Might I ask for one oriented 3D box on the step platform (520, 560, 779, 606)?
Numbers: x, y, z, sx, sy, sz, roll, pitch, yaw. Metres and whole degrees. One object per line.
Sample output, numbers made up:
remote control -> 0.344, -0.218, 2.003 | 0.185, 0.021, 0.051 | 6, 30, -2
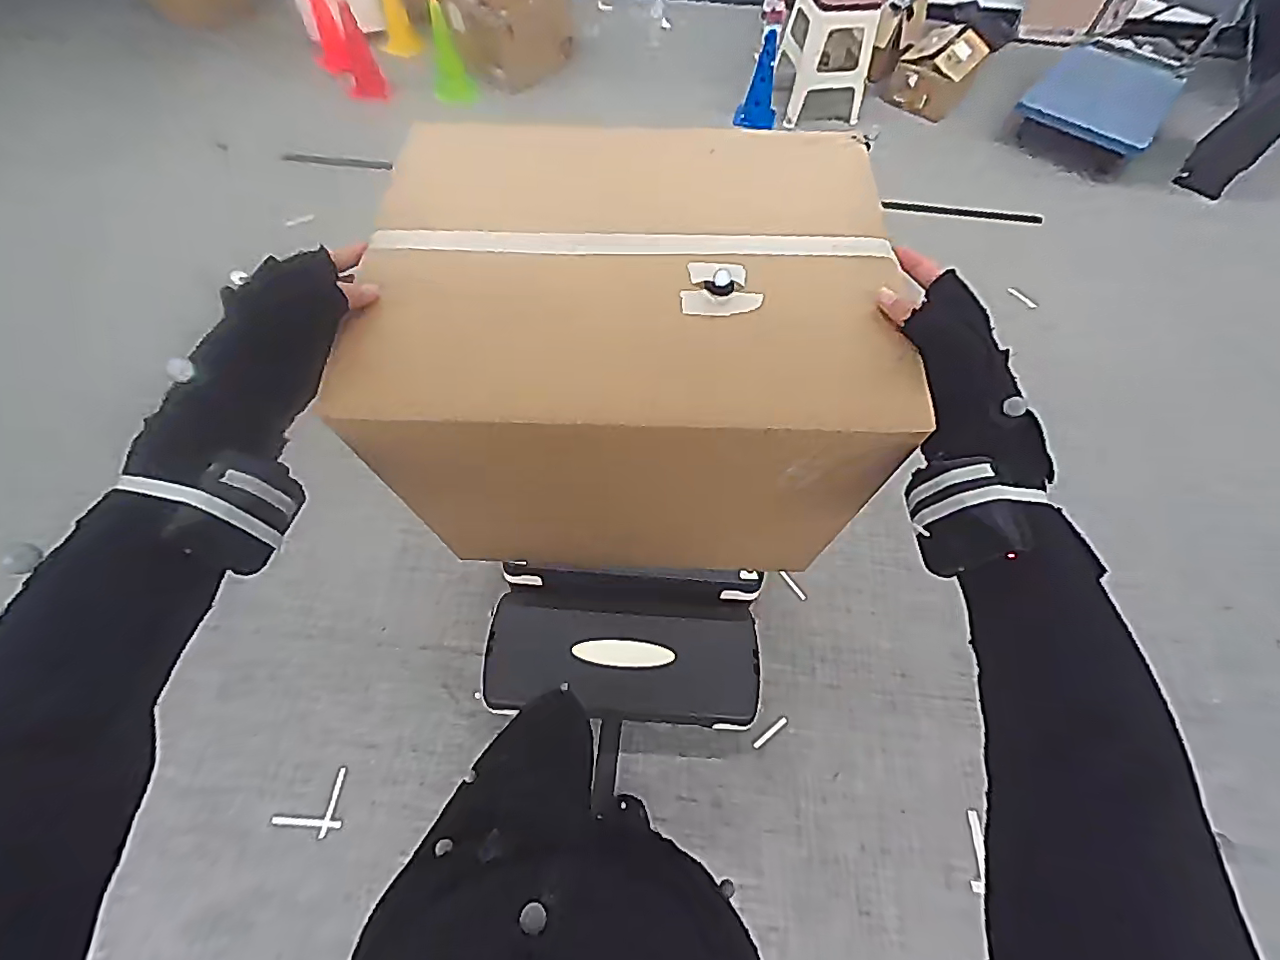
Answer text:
step platform -> 0.025, 0.159, 1.463 | 0.684, 0.204, 0.286 | 4, 61, -1

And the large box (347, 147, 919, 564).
large box -> -0.005, -0.105, 0.569 | 0.408, 0.320, 0.320 | 2, 64, 0
